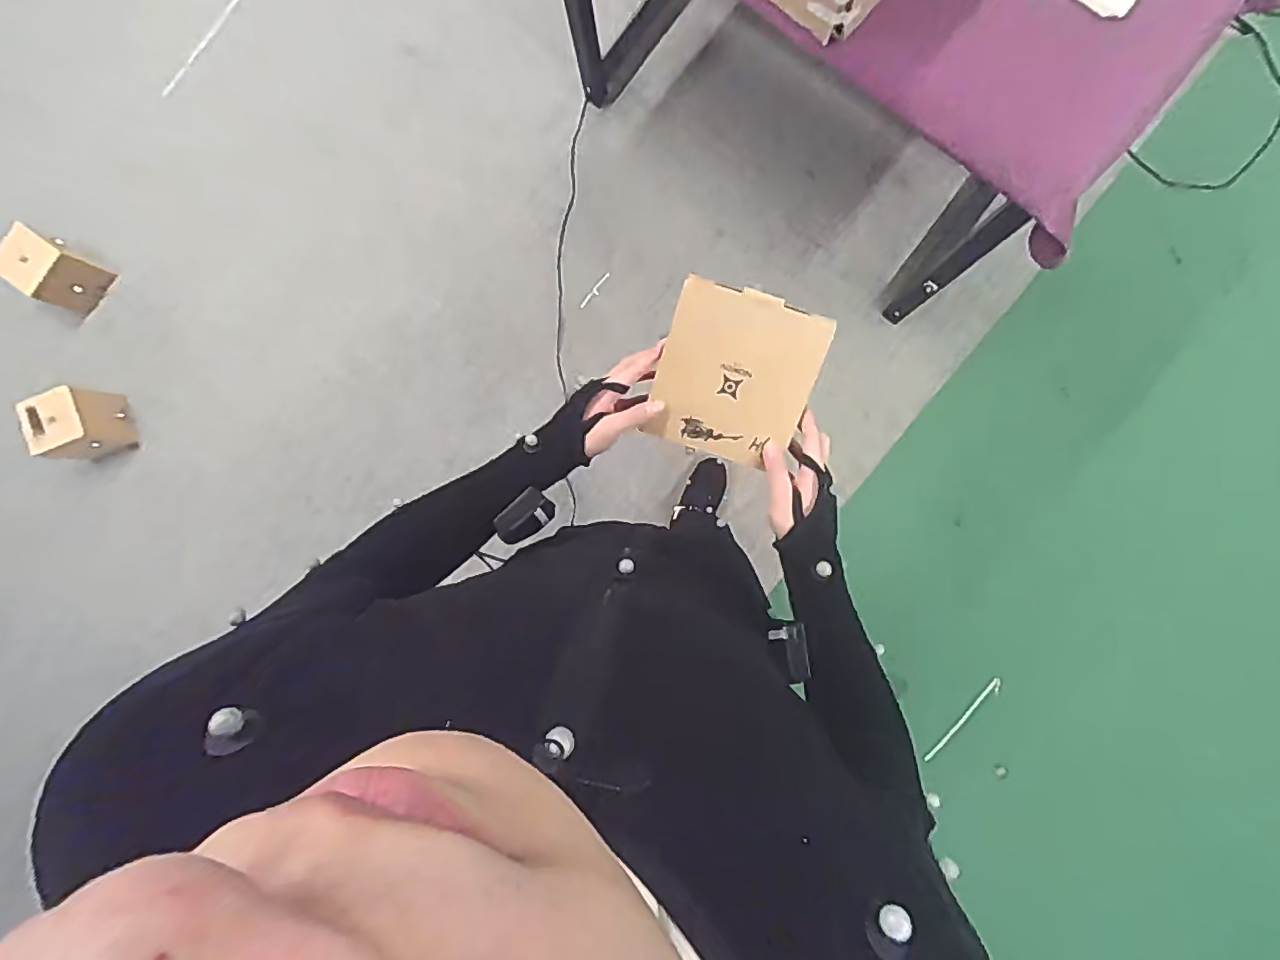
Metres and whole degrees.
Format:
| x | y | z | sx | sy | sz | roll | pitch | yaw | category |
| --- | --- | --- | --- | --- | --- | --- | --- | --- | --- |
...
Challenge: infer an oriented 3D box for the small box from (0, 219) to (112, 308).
| x | y | z | sx | sy | sz | roll | pitch | yaw | category |
| --- | --- | --- | --- | --- | --- | --- | --- | --- | --- |
| -1.815 | -0.657 | 1.673 | 0.179 | 0.176 | 0.168 | 36 | 90 | 3 | small box |

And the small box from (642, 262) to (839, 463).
| x | y | z | sx | sy | sz | roll | pitch | yaw | category |
| --- | --- | --- | --- | --- | --- | --- | --- | --- | --- |
| 0.110 | -0.146 | 0.651 | 0.168 | 0.176 | 0.179 | 18 | 110 | 0 | small box |
